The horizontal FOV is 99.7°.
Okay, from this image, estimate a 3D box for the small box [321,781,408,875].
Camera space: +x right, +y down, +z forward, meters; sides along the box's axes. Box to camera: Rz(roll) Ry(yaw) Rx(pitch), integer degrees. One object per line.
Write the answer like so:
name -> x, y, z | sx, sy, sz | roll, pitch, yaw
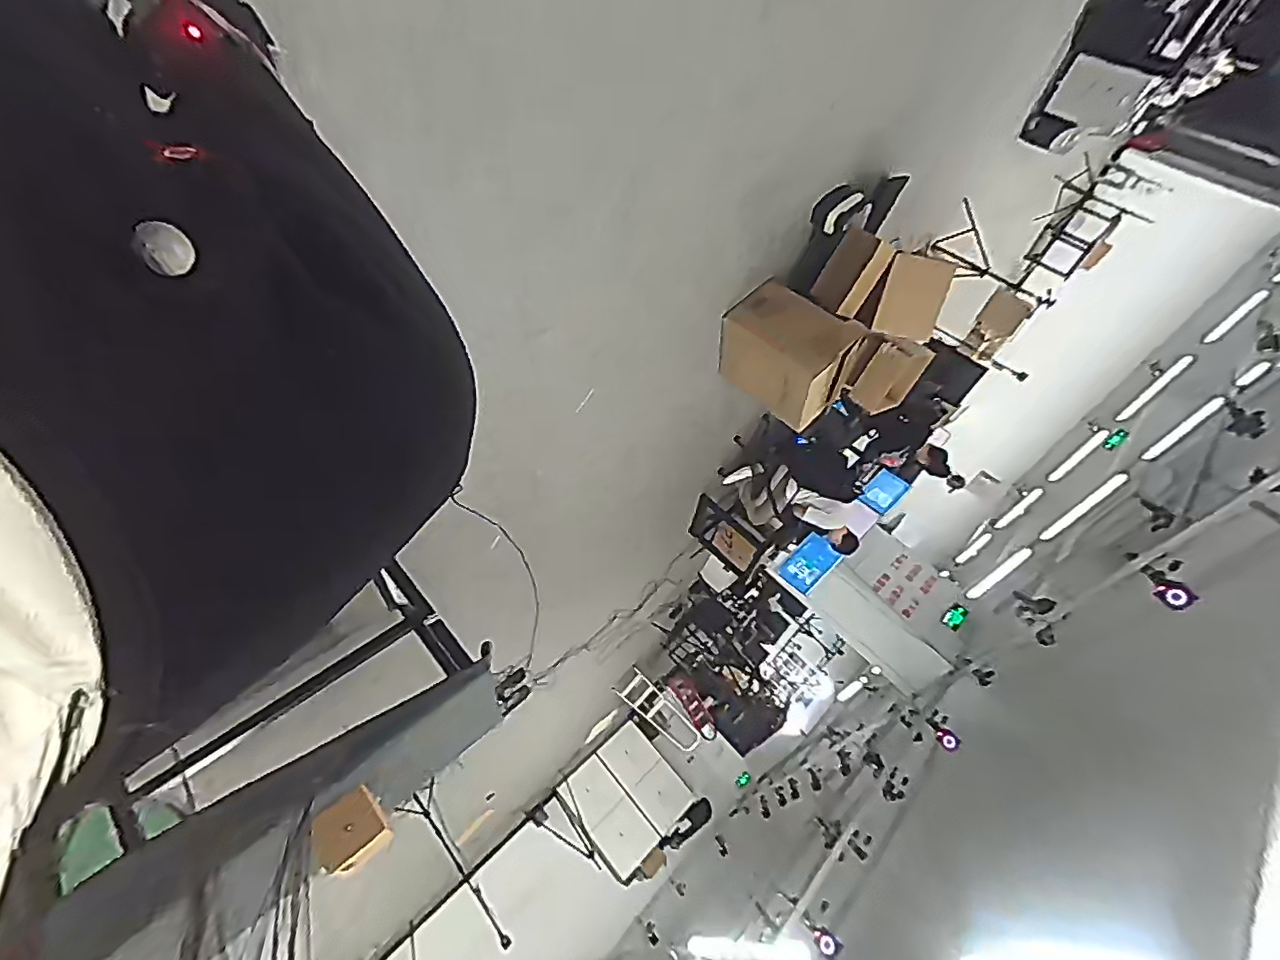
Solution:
small box -> -0.869, 1.091, 1.698 | 0.179, 0.176, 0.168 | -34, 153, -28
